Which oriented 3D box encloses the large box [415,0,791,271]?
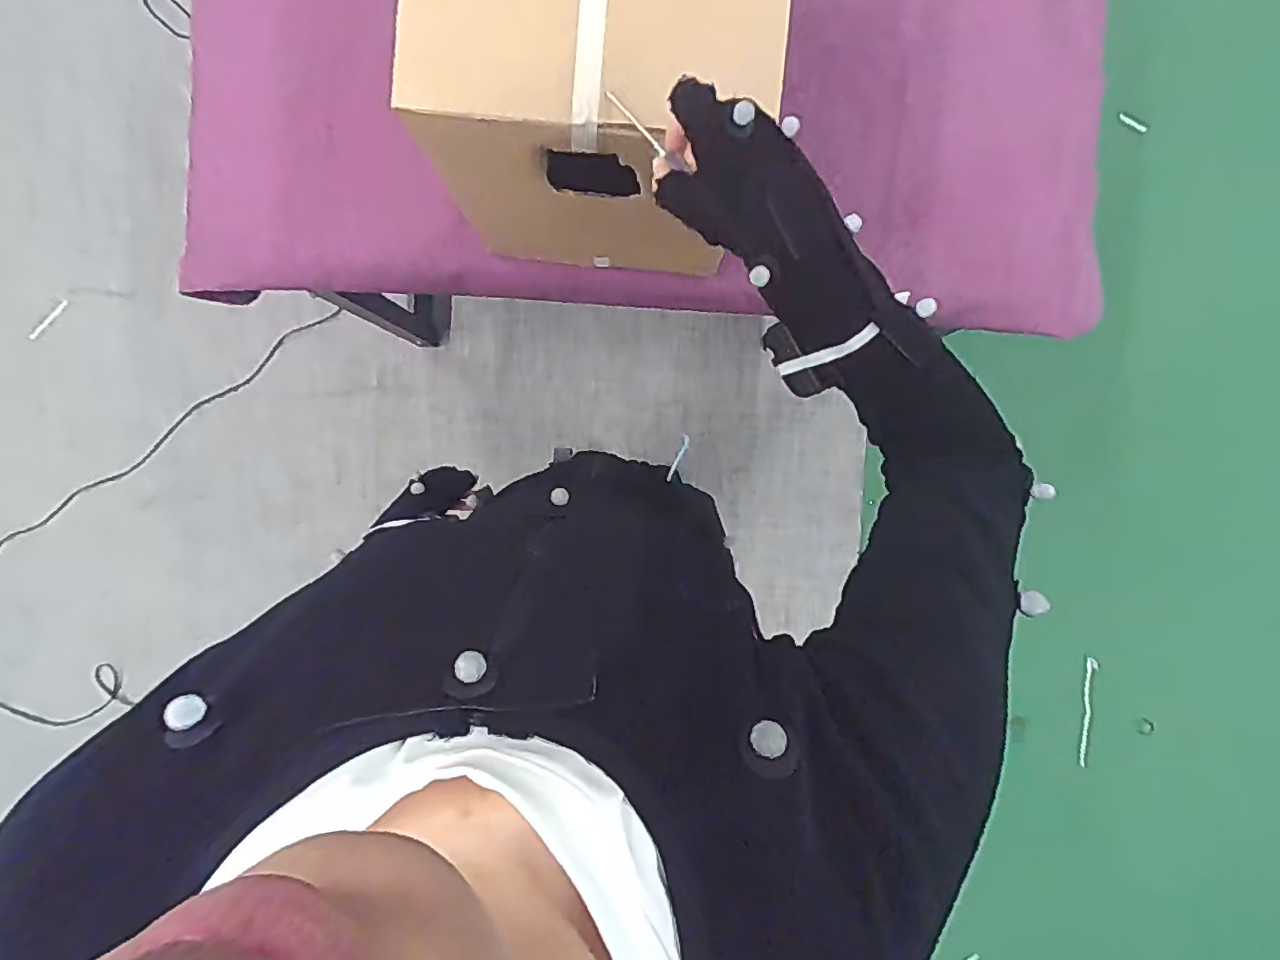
[{"bbox_3d":[-0.026,-0.494,0.595,0.320,0.320,0.408,5,93,-1],"label":"large box"}]
